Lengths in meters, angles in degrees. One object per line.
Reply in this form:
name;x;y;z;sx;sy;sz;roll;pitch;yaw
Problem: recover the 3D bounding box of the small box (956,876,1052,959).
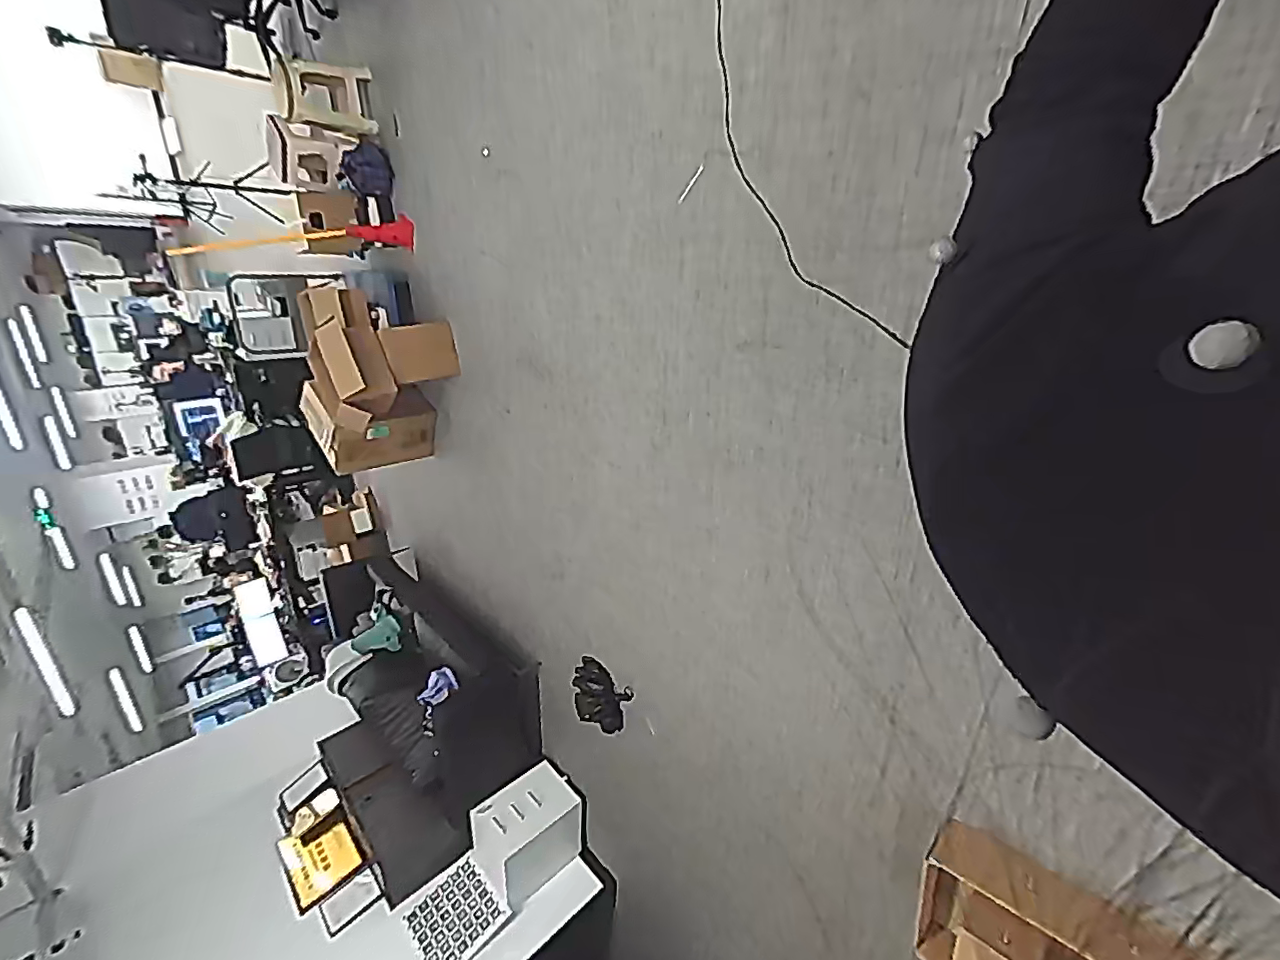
small box;1.011;1.261;1.498;0.179;0.176;0.168;17;117;44
